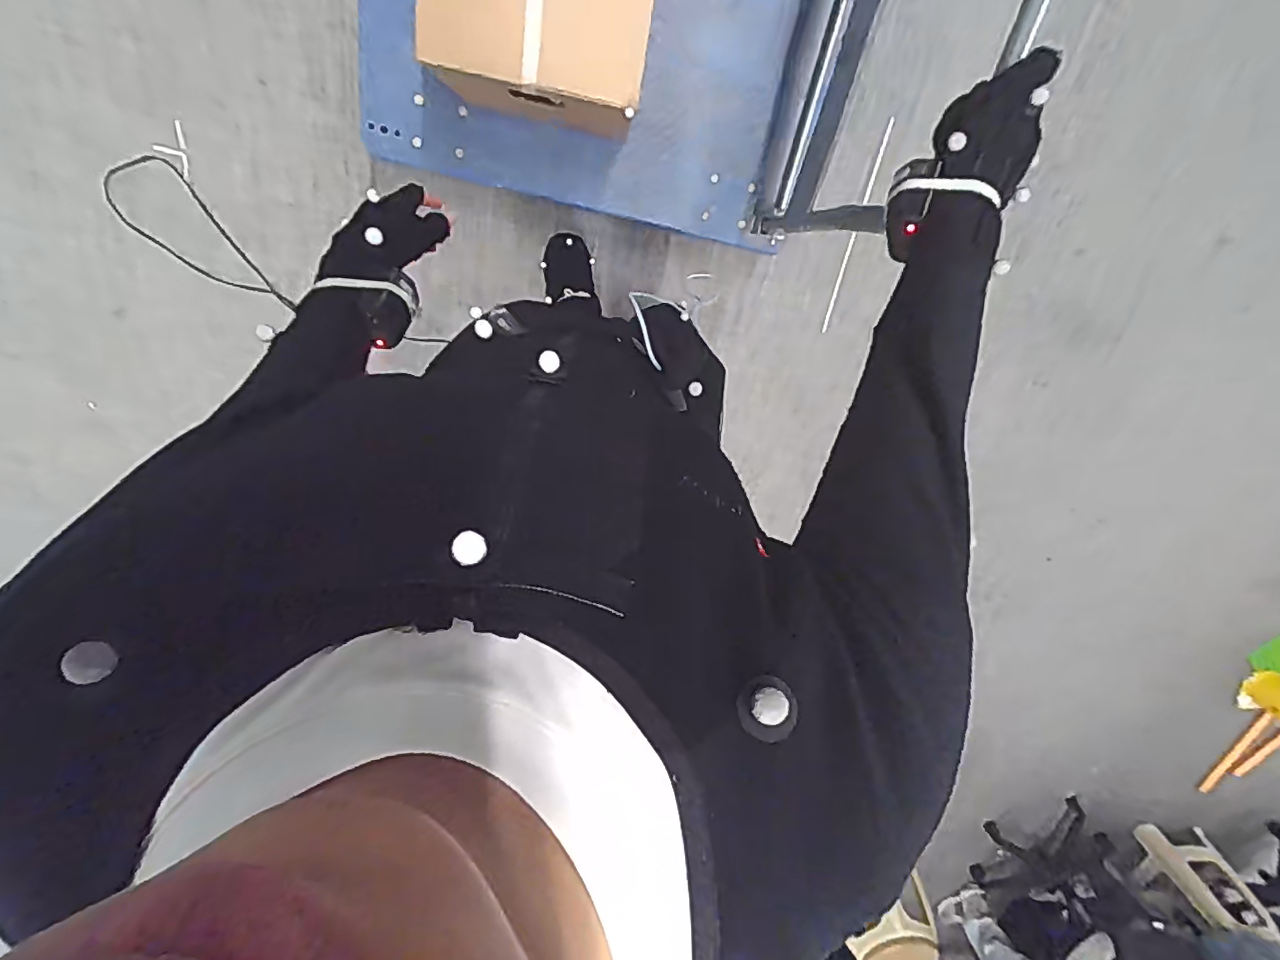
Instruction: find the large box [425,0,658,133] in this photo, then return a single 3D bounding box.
[{"bbox_3d":[-0.124,-0.806,0.817,0.320,0.320,0.408,9,116,-6],"label":"large box"}]
